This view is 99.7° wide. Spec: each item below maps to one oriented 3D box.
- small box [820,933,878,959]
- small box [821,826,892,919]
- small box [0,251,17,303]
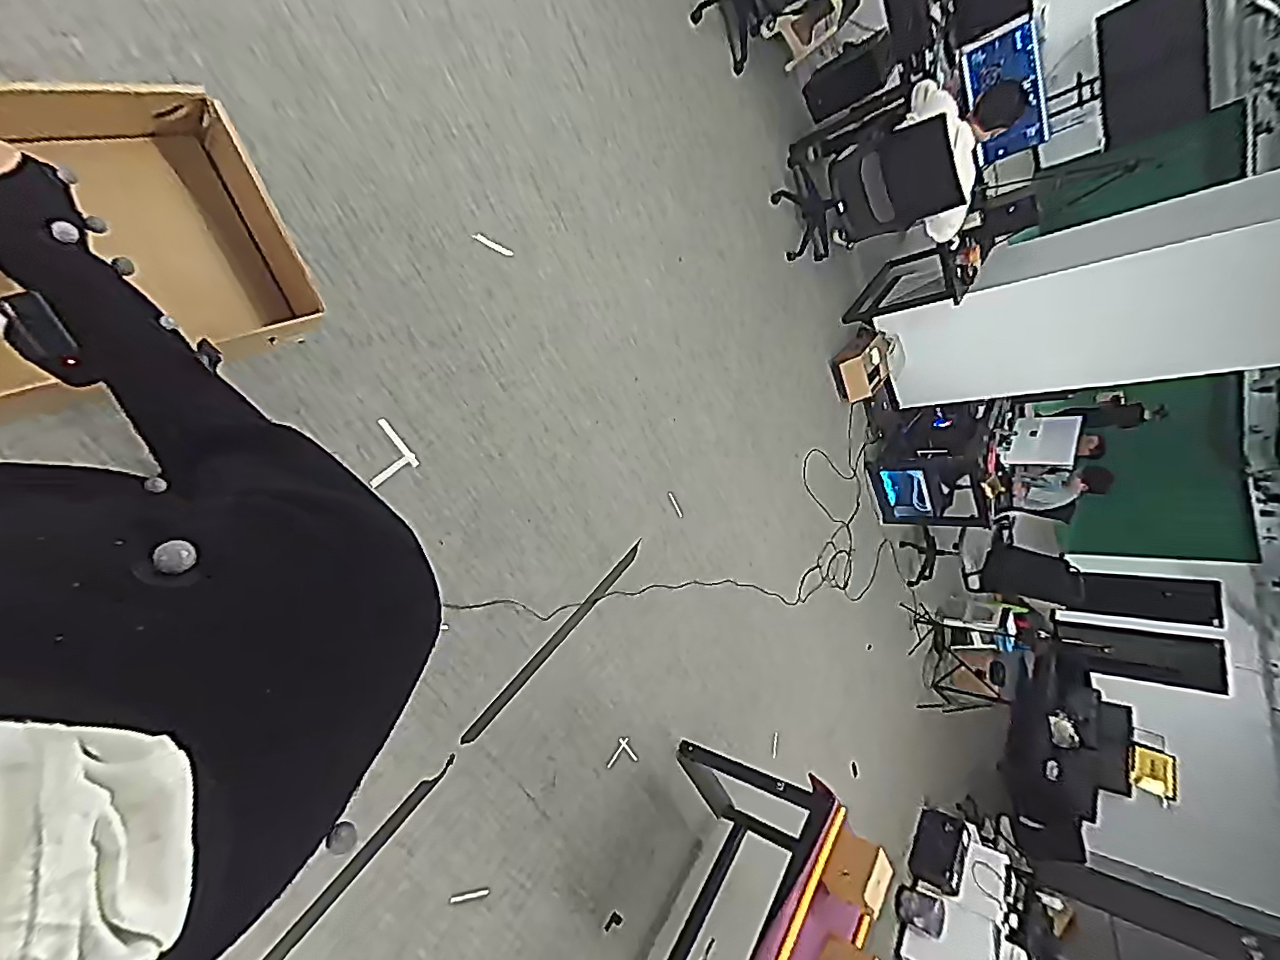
[{"bbox_3d":[0.735,1.738,1.880,0.168,0.176,0.179,-45,116,-36],"label":"small box"},{"bbox_3d":[0.762,1.384,1.918,0.179,0.176,0.168,-44,119,-33],"label":"small box"},{"bbox_3d":[-0.860,-0.298,0.605,0.168,0.176,0.179,-26,105,-42],"label":"small box"}]
